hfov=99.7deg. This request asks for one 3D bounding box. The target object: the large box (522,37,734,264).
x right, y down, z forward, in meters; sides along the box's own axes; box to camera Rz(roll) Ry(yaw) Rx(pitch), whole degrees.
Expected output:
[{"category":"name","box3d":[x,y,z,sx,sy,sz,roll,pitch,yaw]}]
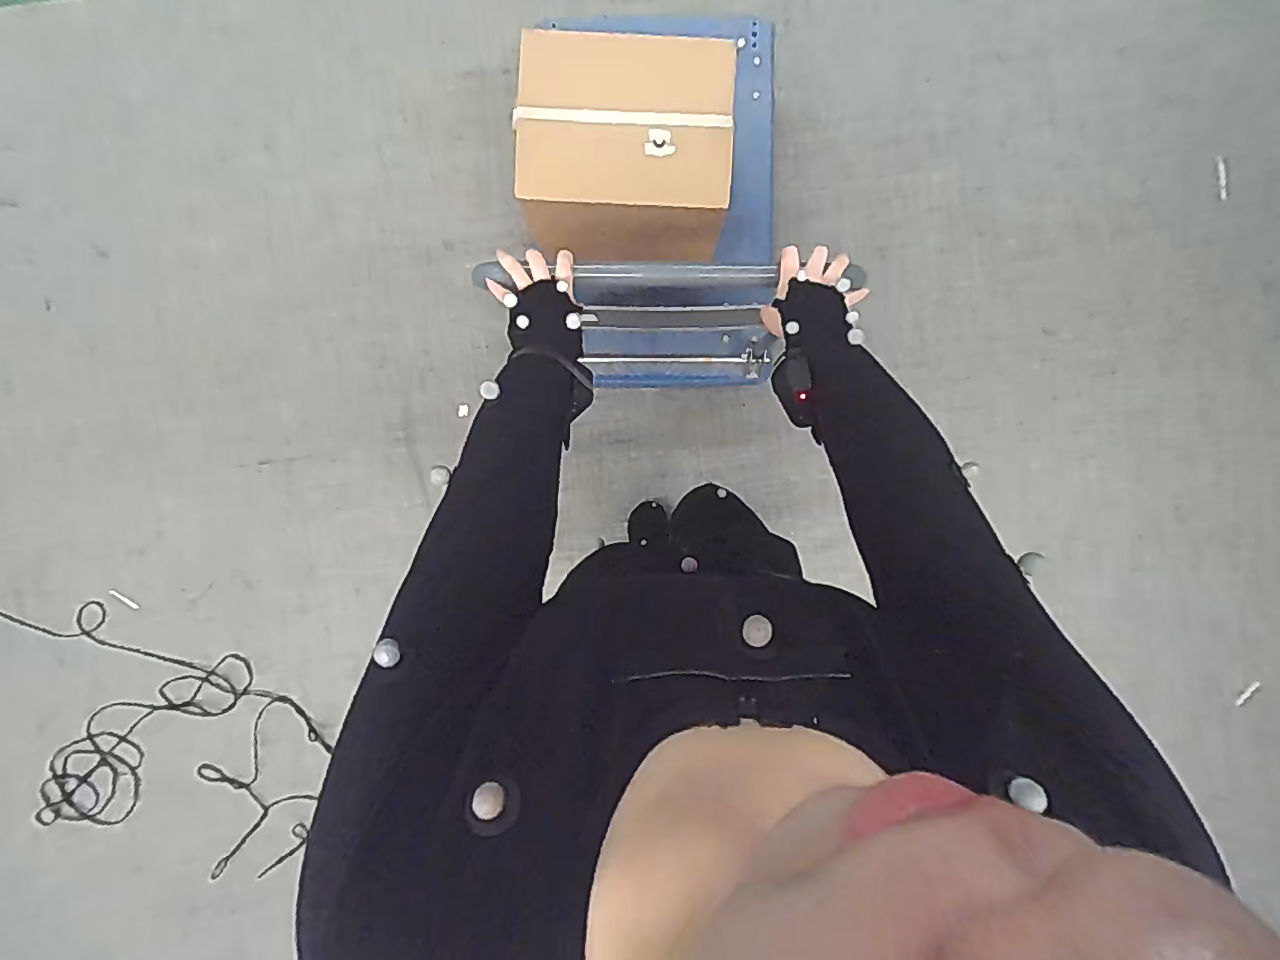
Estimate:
[{"category":"large box","box3d":[-0.026,-0.684,1.175,0.408,0.320,0.320,2,91,-1]}]
